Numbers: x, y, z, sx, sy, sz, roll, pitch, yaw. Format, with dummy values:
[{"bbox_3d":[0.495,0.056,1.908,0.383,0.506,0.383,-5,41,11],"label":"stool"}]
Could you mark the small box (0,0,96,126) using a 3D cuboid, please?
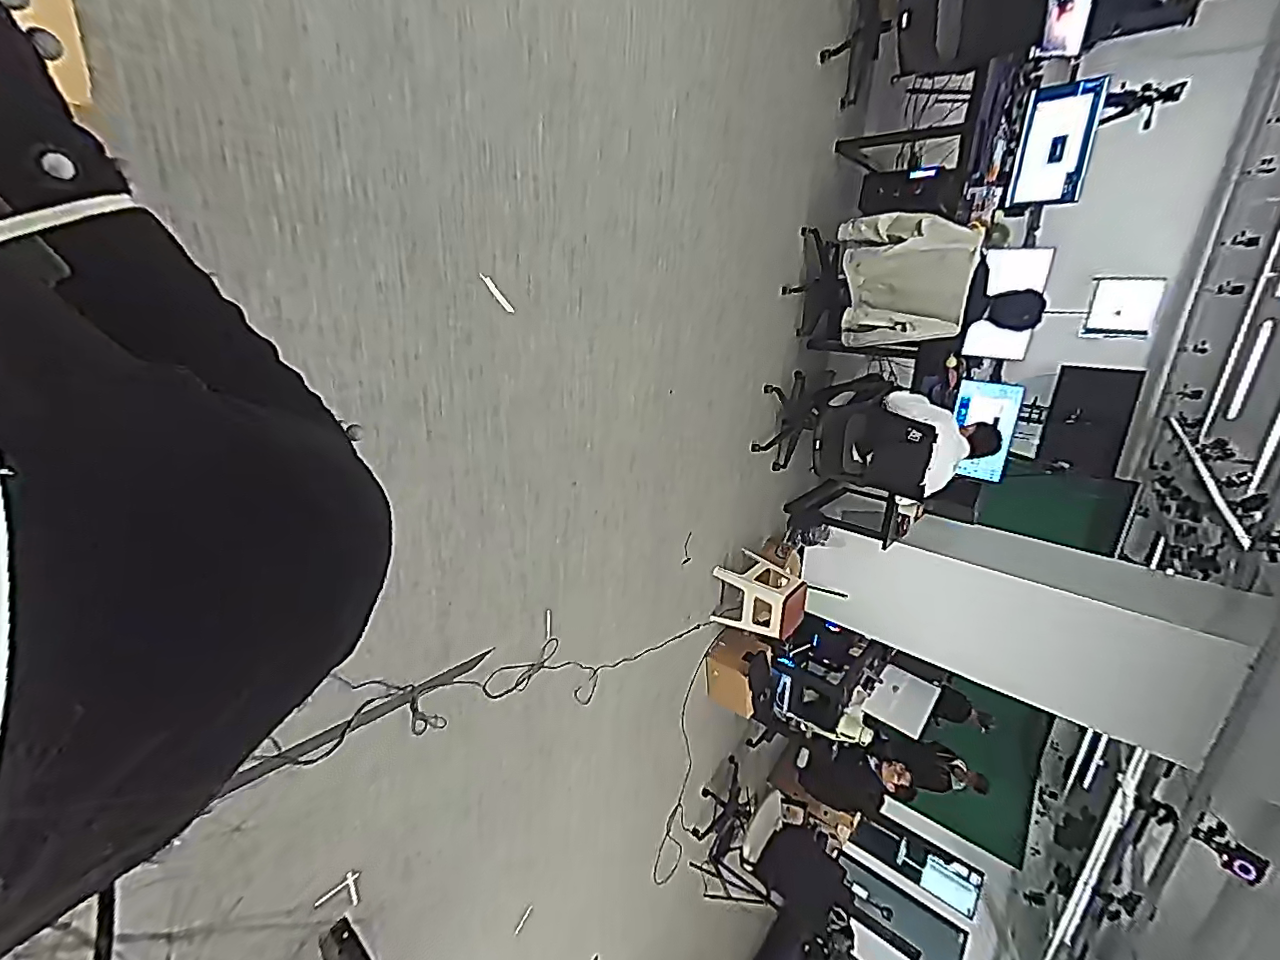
[{"bbox_3d":[-0.689,-0.480,0.536,0.168,0.176,0.179,-19,120,-49],"label":"small box"}]
